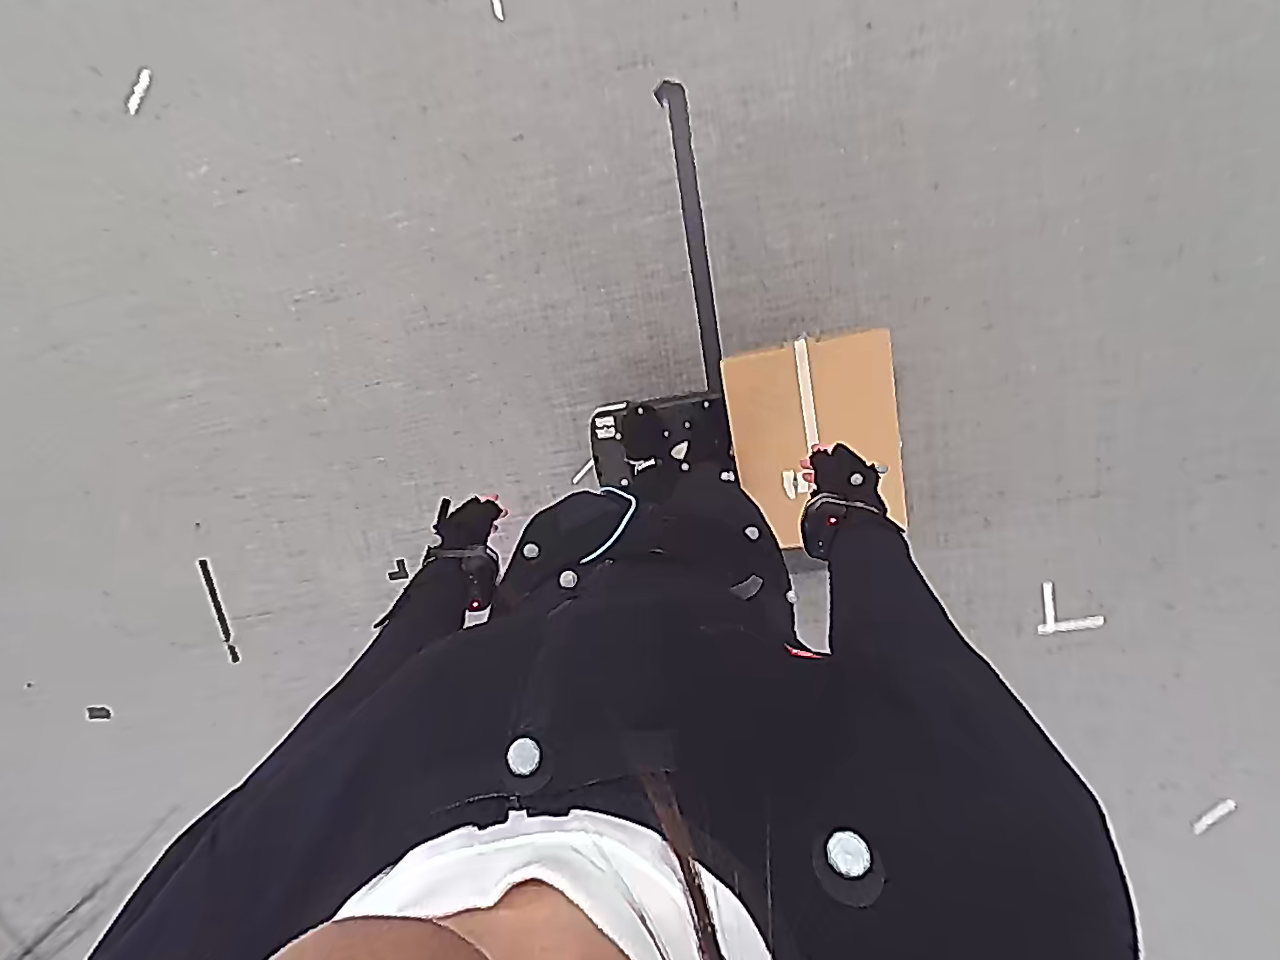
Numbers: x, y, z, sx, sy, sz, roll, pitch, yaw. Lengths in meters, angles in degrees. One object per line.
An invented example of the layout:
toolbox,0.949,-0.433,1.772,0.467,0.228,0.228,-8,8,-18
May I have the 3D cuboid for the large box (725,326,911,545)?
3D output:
large box,0.386,-0.110,1.210,0.320,0.320,0.408,-8,104,16
